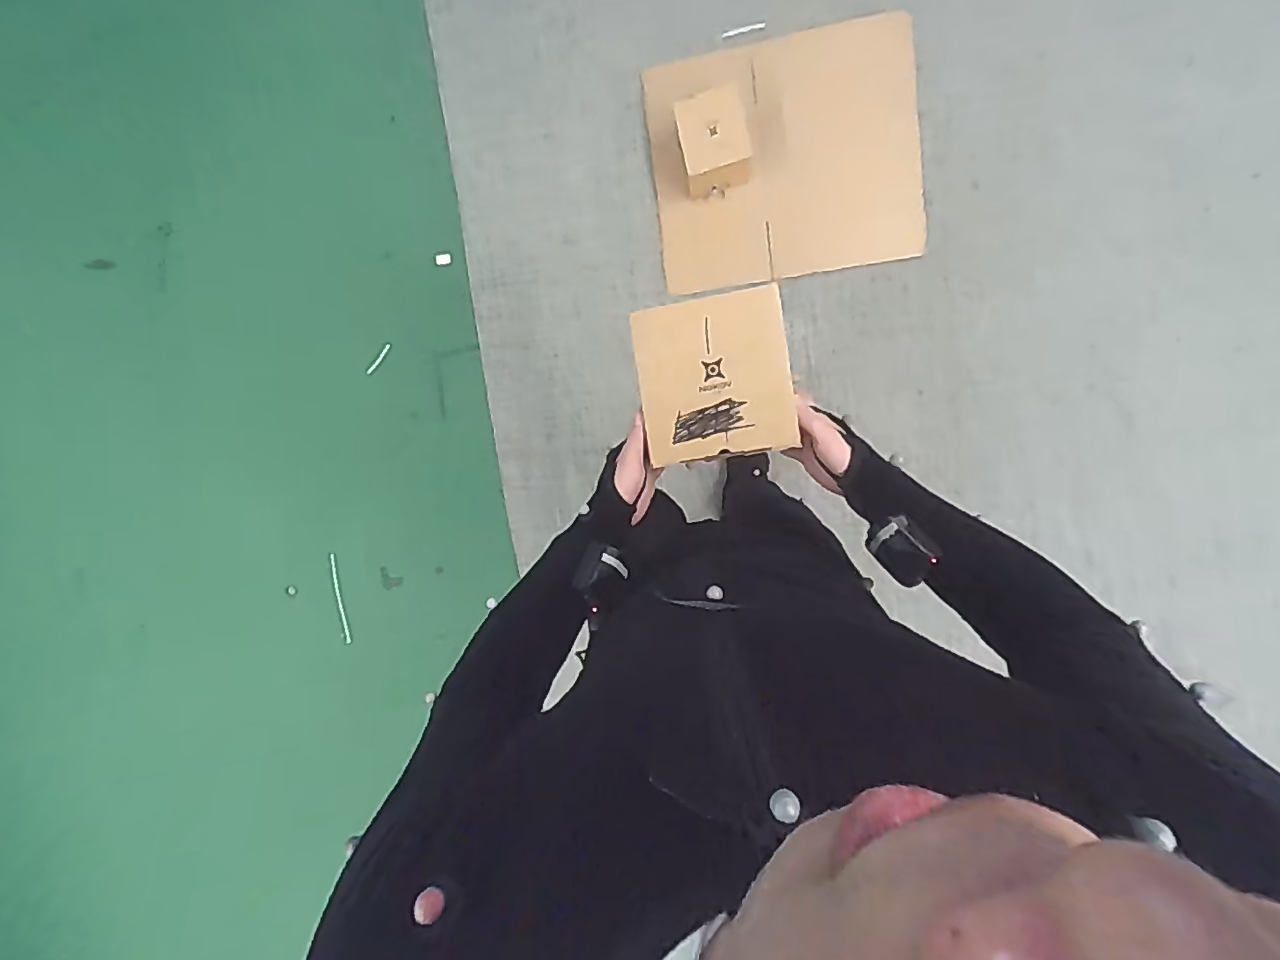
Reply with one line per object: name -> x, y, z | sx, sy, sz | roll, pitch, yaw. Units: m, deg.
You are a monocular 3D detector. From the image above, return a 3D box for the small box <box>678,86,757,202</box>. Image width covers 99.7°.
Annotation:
small box -> 0.198, -0.853, 1.391 | 0.168, 0.176, 0.179 | -12, 95, 10

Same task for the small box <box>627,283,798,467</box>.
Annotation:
small box -> 0.092, -0.116, 0.659 | 0.168, 0.176, 0.179 | -9, 92, 11
